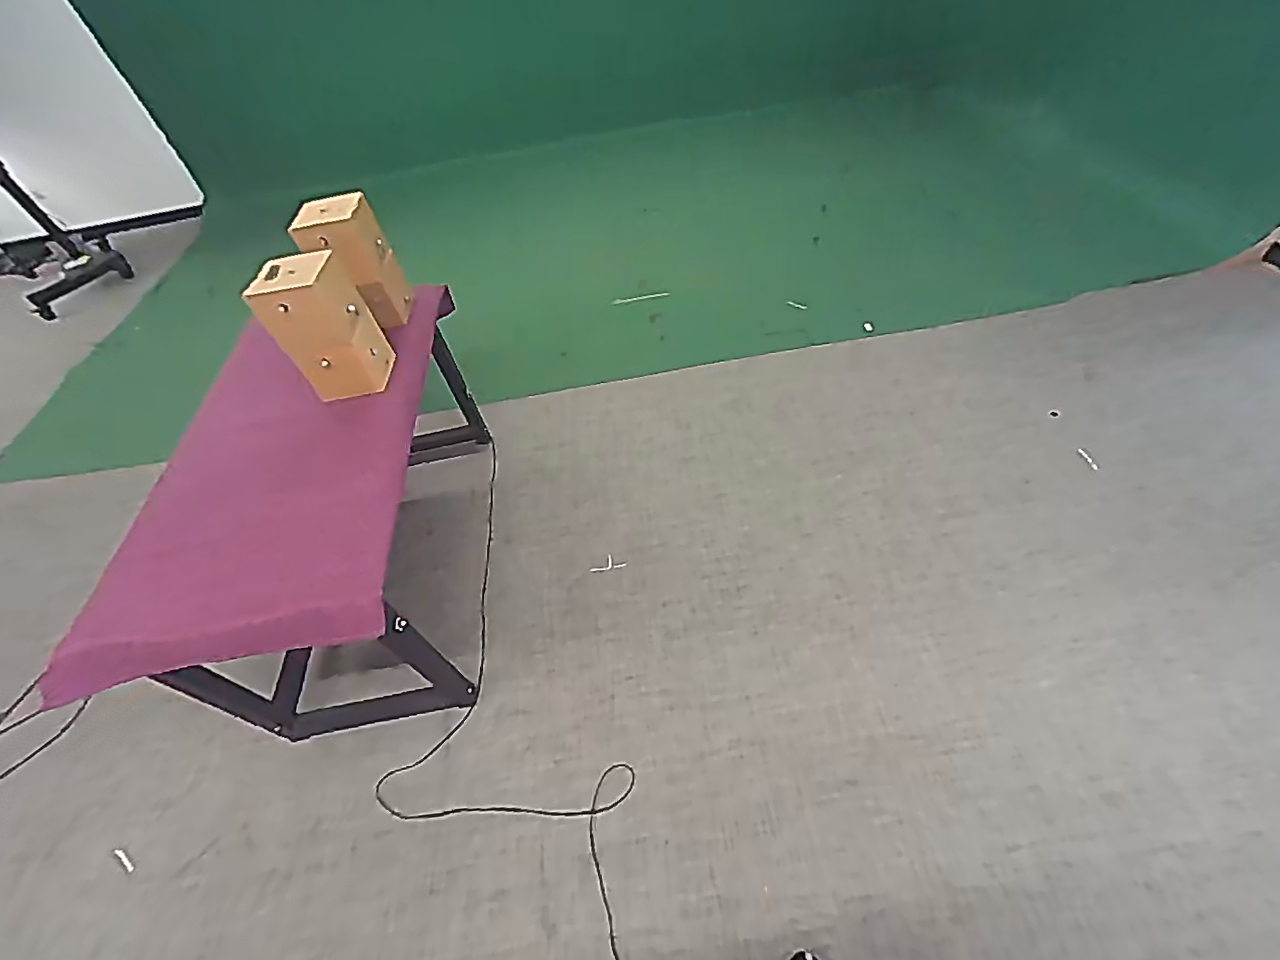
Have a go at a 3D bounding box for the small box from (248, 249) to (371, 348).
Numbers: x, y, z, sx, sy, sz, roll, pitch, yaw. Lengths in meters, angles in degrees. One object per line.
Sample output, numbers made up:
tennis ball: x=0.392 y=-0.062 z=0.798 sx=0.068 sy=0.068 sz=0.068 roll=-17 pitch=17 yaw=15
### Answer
small box: x=-0.823 y=-0.453 z=1.366 sx=0.179 sy=0.176 sz=0.168 roll=-8 pitch=51 yaw=4

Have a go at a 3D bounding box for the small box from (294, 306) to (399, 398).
small box: x=-0.797 y=-0.350 z=1.491 sx=0.179 sy=0.176 sz=0.168 roll=-9 pitch=50 yaw=4

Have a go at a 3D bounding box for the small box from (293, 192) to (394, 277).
small box: x=-0.852 y=-0.703 z=1.571 sx=0.179 sy=0.176 sz=0.168 roll=-9 pitch=51 yaw=2
